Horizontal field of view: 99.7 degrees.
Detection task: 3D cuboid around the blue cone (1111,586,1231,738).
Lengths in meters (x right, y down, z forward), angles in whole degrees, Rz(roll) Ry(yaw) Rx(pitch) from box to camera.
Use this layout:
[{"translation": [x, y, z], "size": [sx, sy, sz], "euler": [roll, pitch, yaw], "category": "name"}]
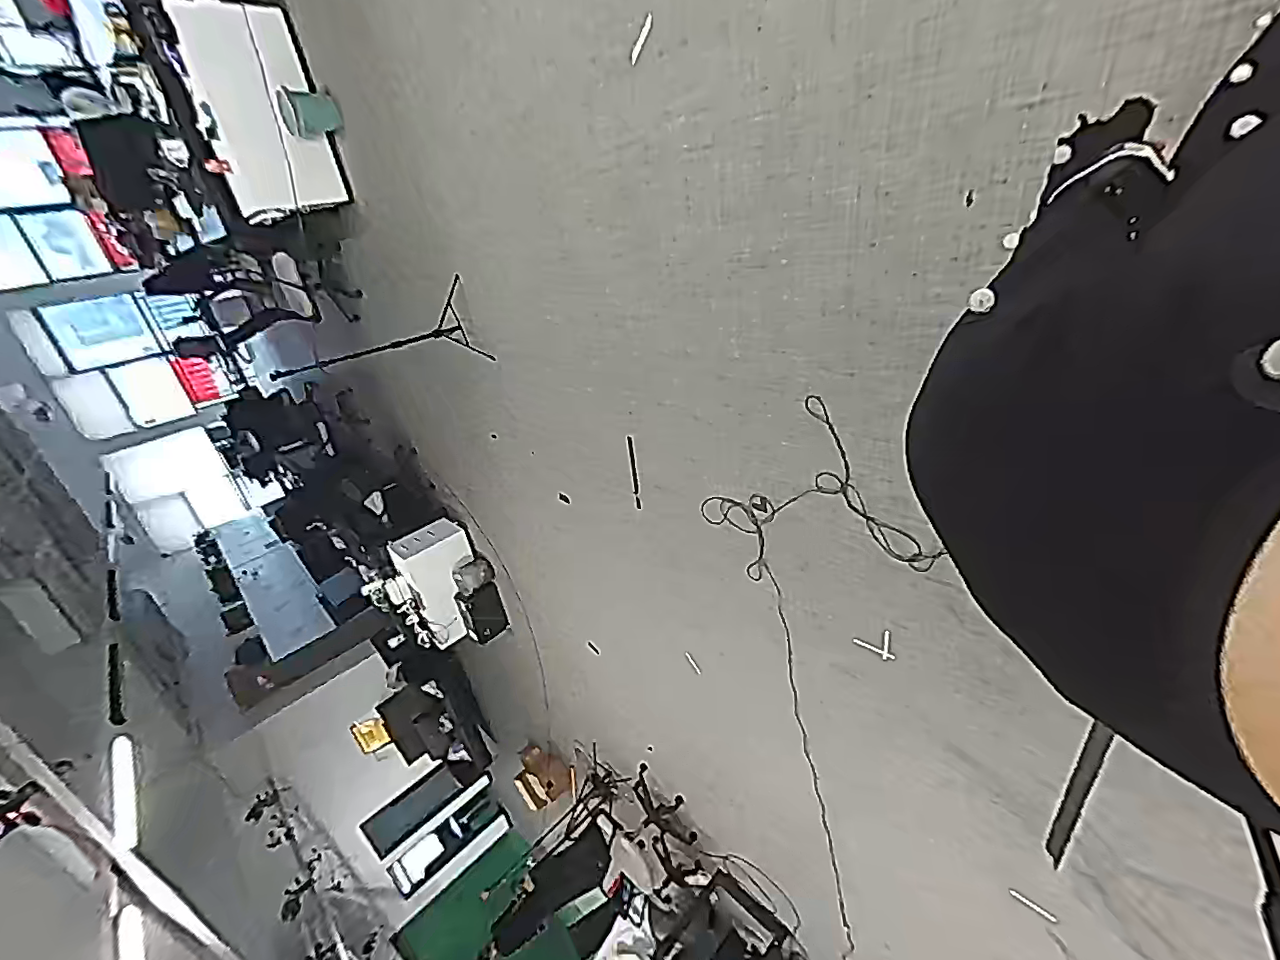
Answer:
[{"translation": [1.129, 0.413, 1.180], "size": [0.192, 0.380, 0.193], "euler": [15, 126, 44], "category": "blue cone"}]
